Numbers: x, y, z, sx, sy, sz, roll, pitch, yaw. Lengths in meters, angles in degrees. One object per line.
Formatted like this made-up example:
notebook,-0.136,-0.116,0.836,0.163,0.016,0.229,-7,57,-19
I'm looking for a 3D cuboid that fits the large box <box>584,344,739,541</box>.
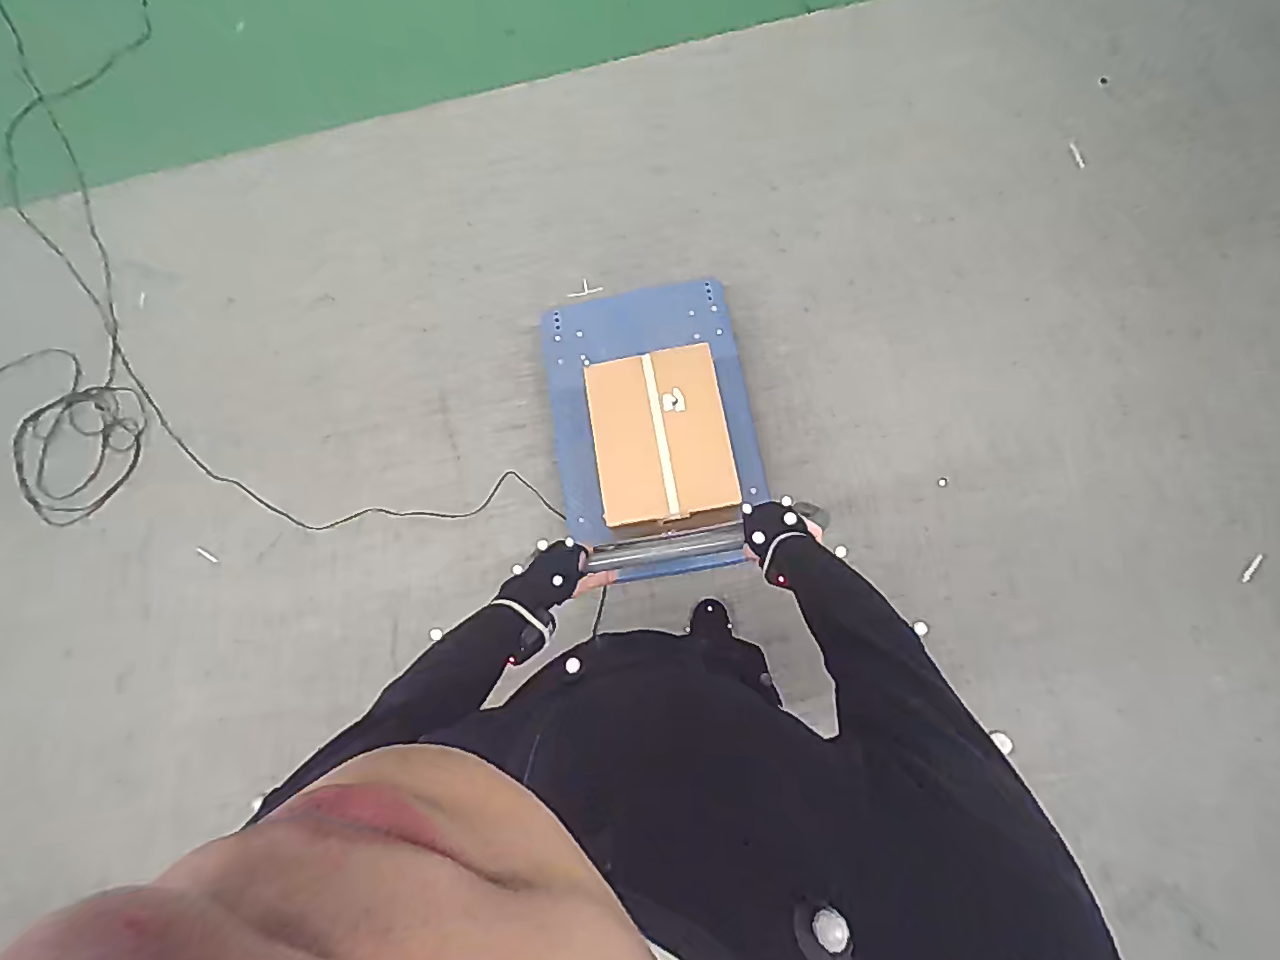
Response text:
large box,0.058,-0.080,1.416,0.320,0.320,0.408,-10,75,2
